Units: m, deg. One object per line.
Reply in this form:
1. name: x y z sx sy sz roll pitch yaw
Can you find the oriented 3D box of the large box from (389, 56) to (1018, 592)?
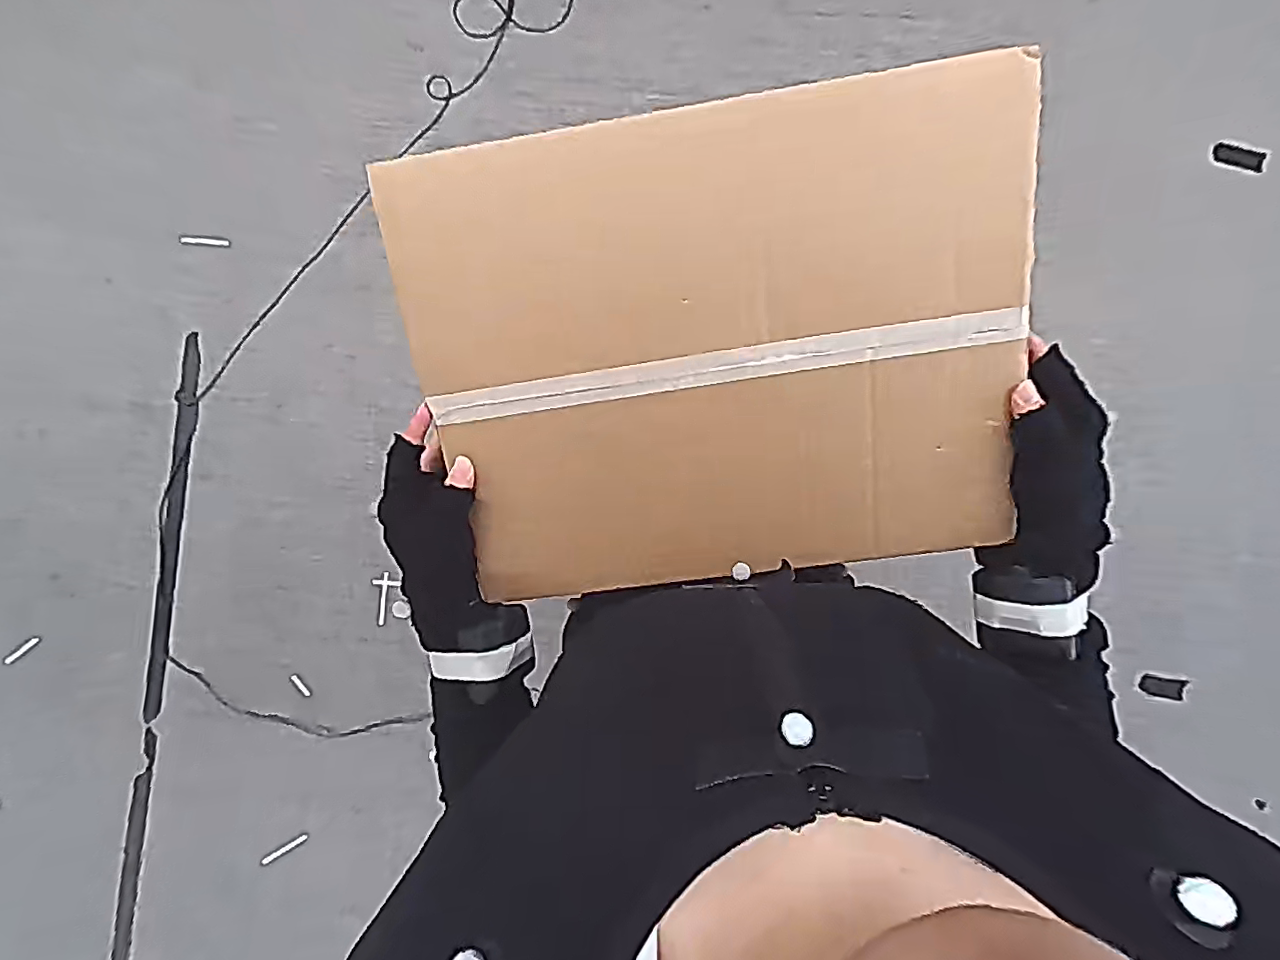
1. large box: 0.056 -0.123 0.520 0.408 0.320 0.320 -7 108 4
